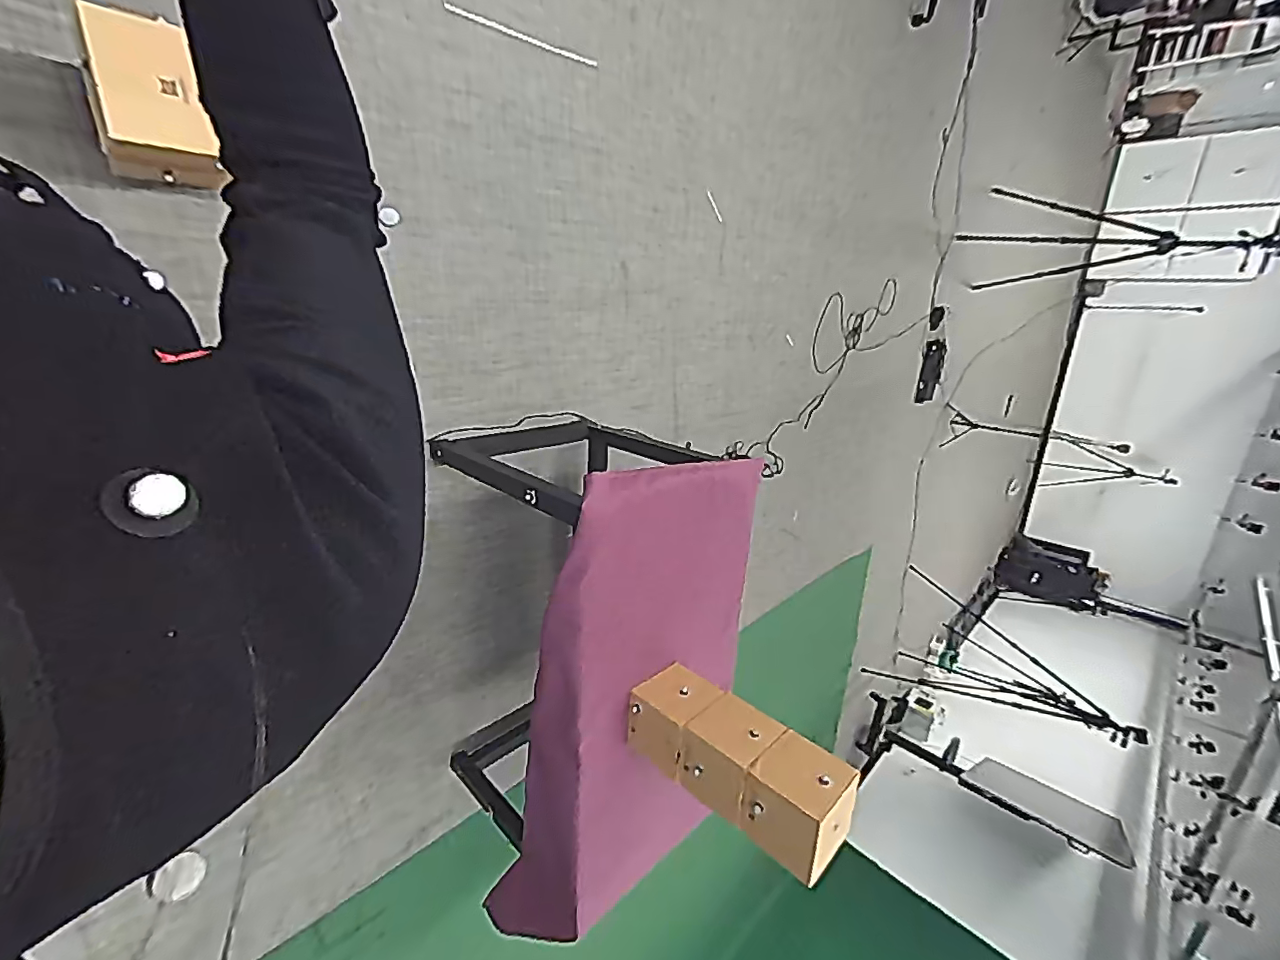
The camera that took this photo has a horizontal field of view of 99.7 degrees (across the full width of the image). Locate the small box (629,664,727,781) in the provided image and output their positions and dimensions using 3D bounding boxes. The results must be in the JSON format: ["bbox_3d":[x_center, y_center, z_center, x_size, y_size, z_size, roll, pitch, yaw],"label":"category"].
[{"bbox_3d":[0.090,0.586,1.332,0.179,0.176,0.168,-13,113,-44],"label":"small box"}]

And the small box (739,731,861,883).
[{"bbox_3d":[0.329,0.662,1.121,0.179,0.176,0.168,-13,113,-43],"label":"small box"}]

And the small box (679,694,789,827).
[{"bbox_3d":[0.212,0.623,1.227,0.179,0.176,0.168,-13,113,-43],"label":"small box"}]

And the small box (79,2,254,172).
[{"bbox_3d":[-0.751,-0.604,0.862,0.179,0.176,0.168,-17,116,-43],"label":"small box"}]
